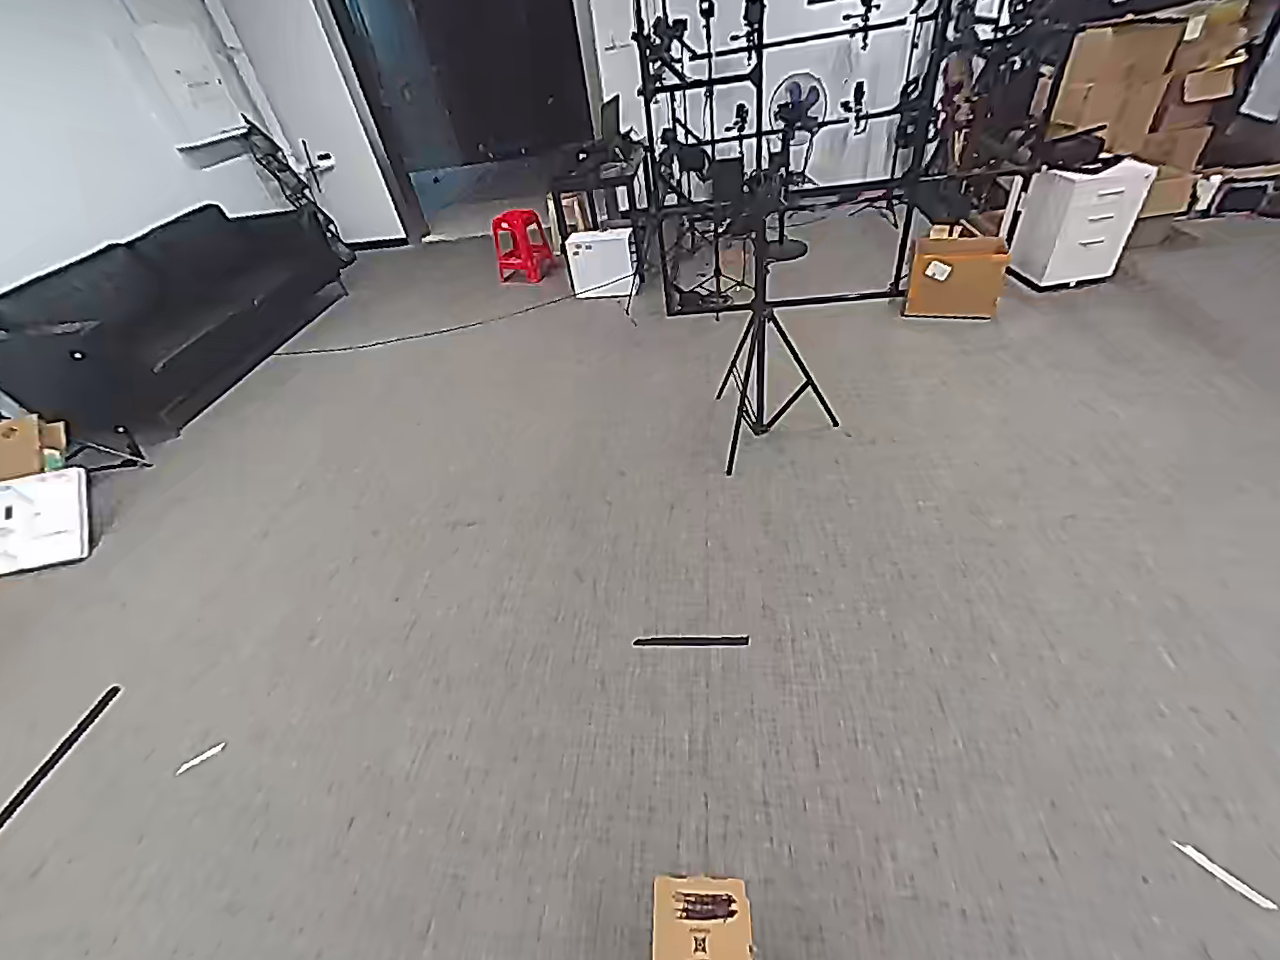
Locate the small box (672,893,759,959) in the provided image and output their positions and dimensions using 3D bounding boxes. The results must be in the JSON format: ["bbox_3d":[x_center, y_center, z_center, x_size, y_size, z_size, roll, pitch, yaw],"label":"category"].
[{"bbox_3d":[0.151,0.957,1.078,0.168,0.176,0.179,-3,41,7],"label":"small box"}]
